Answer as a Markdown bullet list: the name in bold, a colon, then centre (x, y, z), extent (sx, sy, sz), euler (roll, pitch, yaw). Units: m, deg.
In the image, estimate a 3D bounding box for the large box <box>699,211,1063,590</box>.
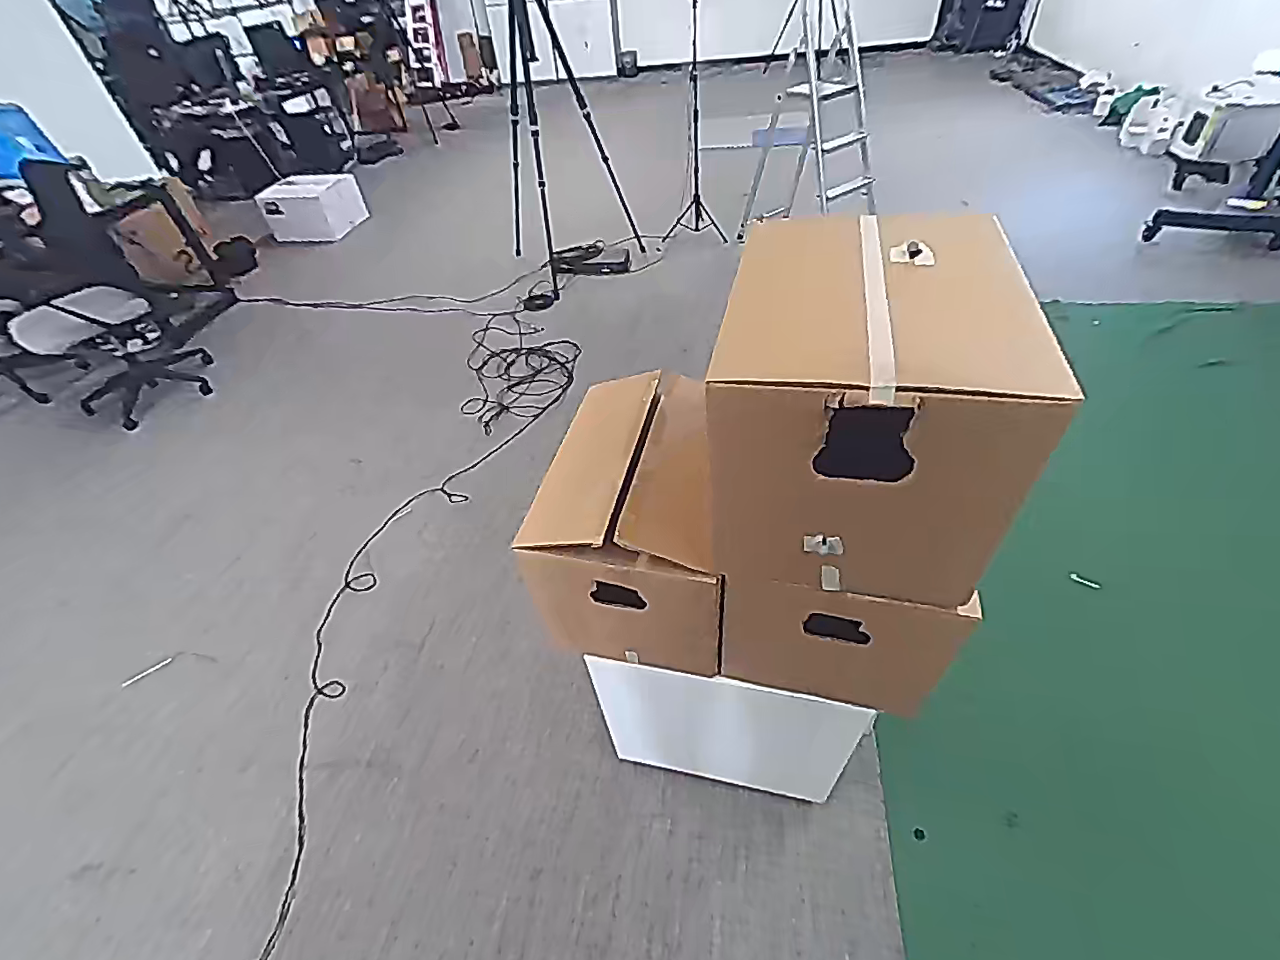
- **large box**: centre (0.268, -0.115, 0.716), extent (0.320, 0.320, 0.408), euler (5, 46, 15)
